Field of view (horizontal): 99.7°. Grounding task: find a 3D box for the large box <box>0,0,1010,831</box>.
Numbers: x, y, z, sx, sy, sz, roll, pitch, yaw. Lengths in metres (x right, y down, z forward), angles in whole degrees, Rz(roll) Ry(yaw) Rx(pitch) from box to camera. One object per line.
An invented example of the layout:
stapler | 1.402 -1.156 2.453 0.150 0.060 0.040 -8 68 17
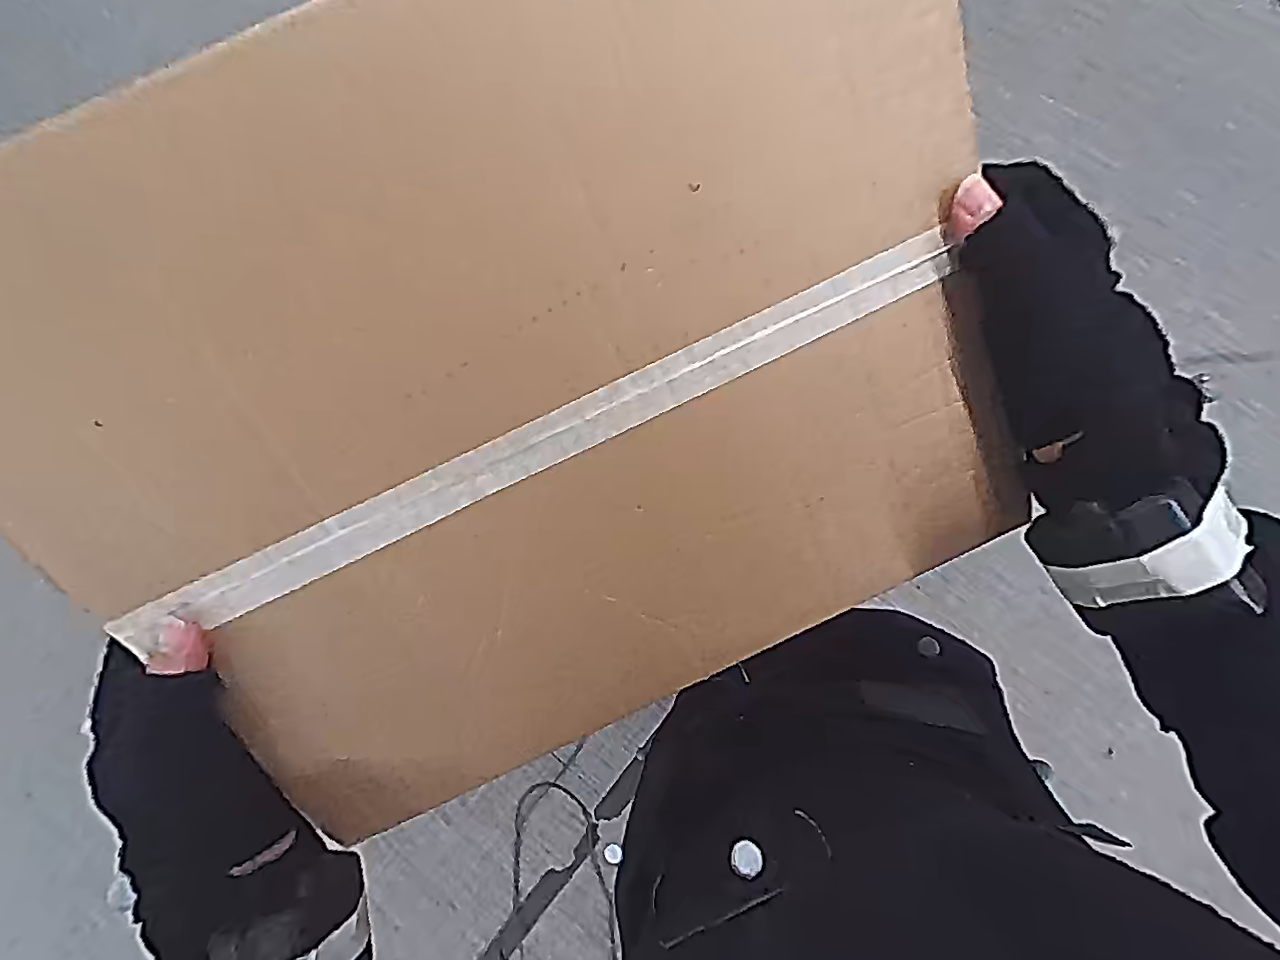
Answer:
large box | -0.053 -0.067 0.377 0.408 0.320 0.320 -25 113 0
